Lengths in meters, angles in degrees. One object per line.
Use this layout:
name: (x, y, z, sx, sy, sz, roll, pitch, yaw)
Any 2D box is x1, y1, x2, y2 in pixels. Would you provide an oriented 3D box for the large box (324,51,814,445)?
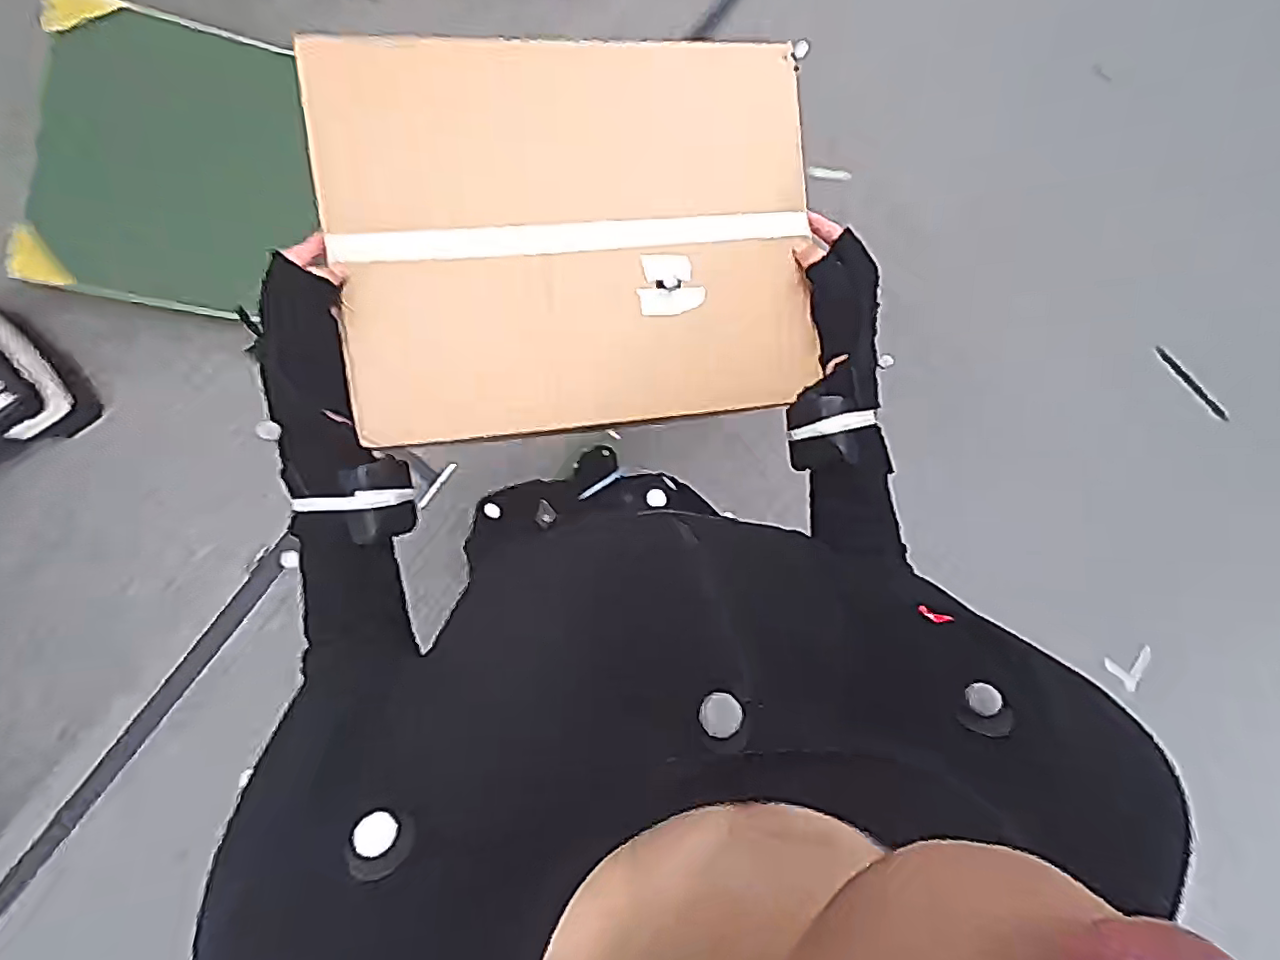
large box: (-0.070, -0.214, 0.614, 0.408, 0.320, 0.320, -6, 96, -11)
